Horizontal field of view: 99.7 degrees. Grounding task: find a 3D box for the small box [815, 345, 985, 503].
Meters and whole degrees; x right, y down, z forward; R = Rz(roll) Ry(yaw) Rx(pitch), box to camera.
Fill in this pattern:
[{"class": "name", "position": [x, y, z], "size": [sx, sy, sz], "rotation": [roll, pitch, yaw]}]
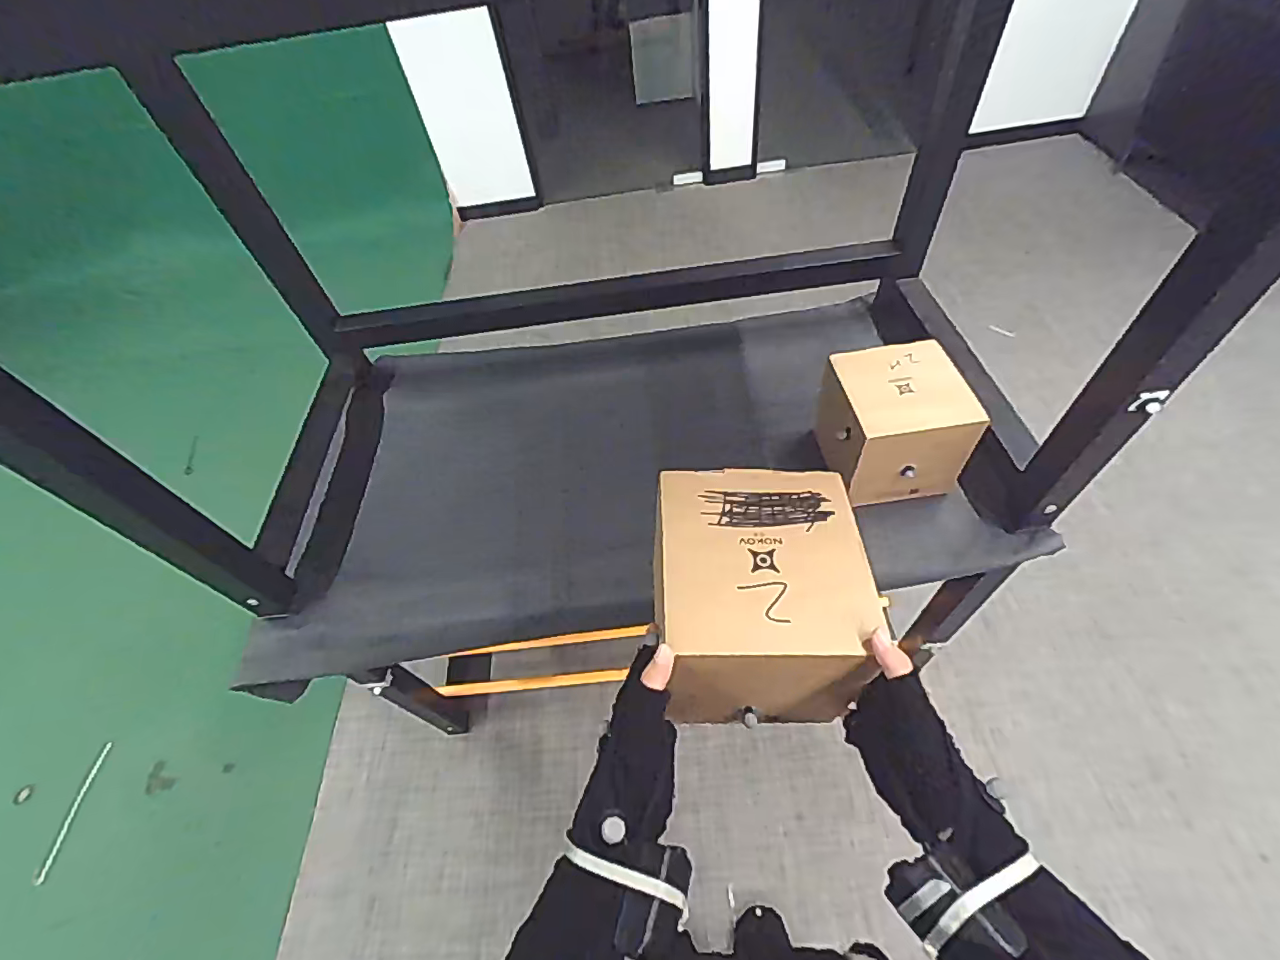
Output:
[{"class": "small box", "position": [0.383, -0.078, 0.835], "size": [0.168, 0.176, 0.179], "rotation": [-8, 51, 2]}]
